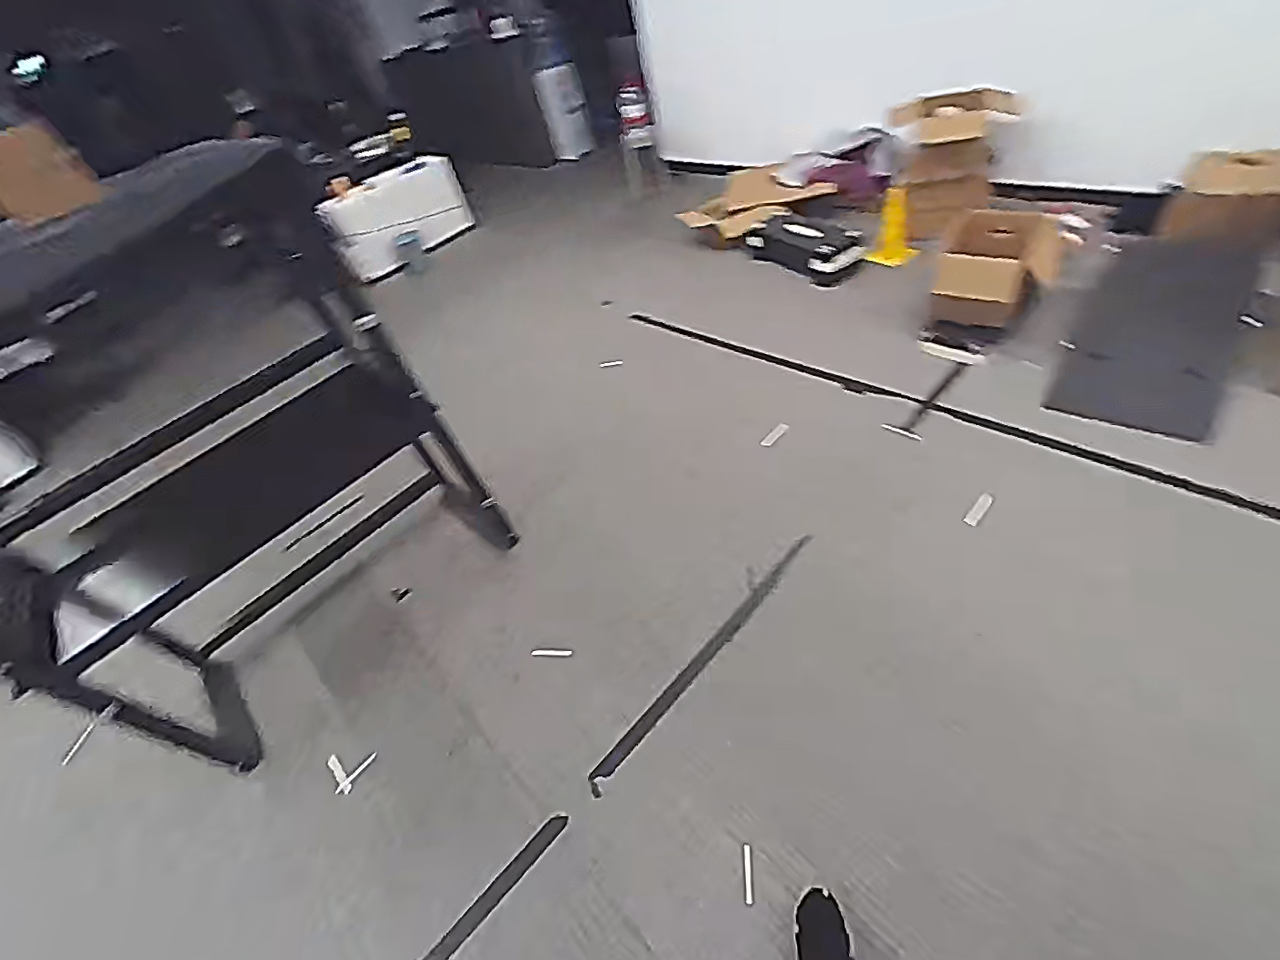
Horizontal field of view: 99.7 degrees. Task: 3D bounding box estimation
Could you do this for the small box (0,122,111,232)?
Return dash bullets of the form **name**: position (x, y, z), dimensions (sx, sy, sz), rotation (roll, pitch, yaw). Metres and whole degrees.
- **small box**: position (-1.374, -0.698, 1.244), dimensions (0.179, 0.176, 0.168), rotation (-40, 48, -21)
